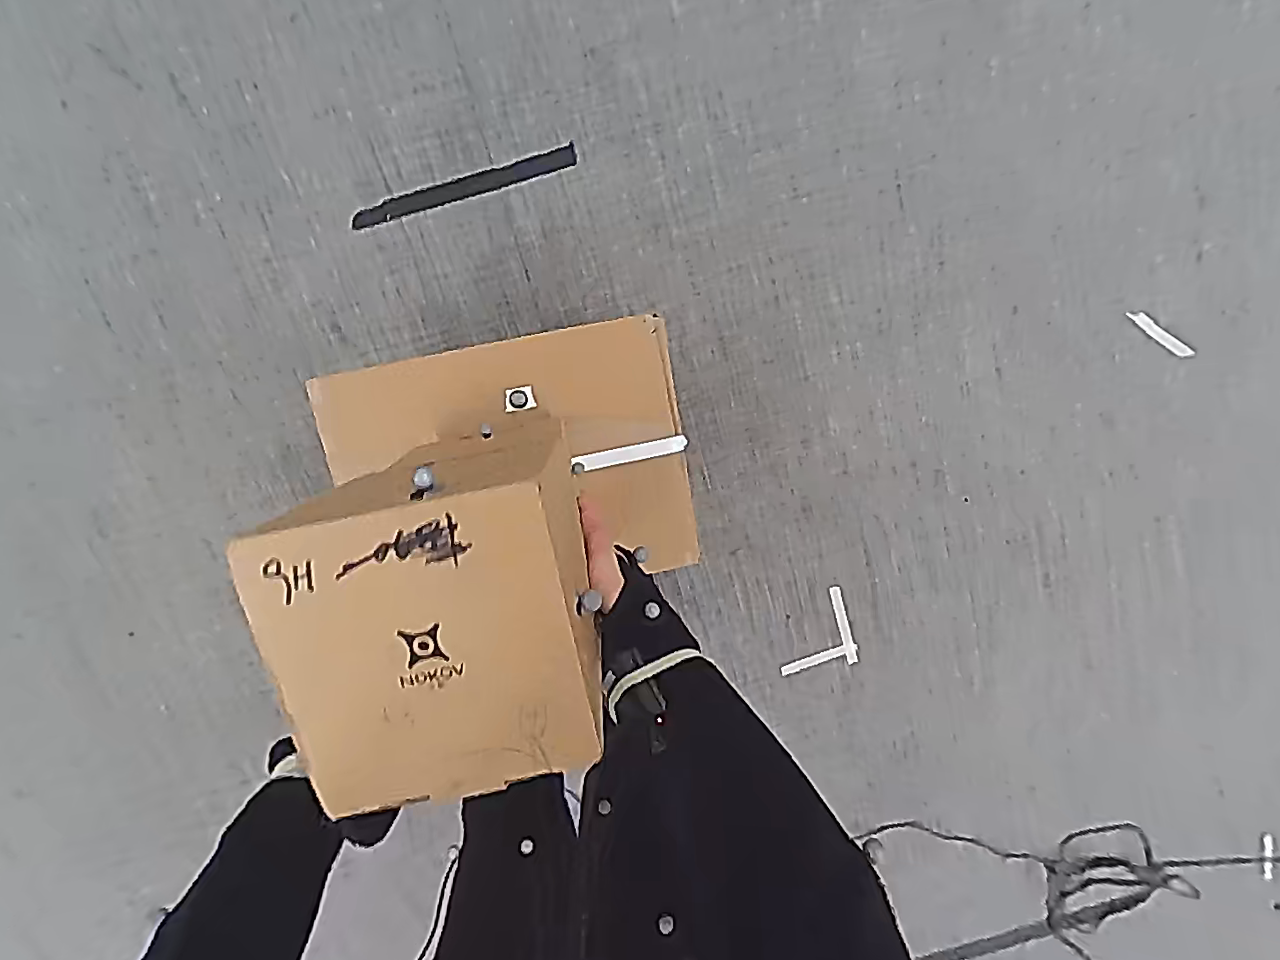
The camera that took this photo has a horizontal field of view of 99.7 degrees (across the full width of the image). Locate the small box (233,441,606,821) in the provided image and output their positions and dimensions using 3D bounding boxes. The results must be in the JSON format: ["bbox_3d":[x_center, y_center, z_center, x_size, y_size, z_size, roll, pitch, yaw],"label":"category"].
[{"bbox_3d":[-0.118,0.083,0.373,0.168,0.176,0.179,-11,104,-3],"label":"small box"}]
